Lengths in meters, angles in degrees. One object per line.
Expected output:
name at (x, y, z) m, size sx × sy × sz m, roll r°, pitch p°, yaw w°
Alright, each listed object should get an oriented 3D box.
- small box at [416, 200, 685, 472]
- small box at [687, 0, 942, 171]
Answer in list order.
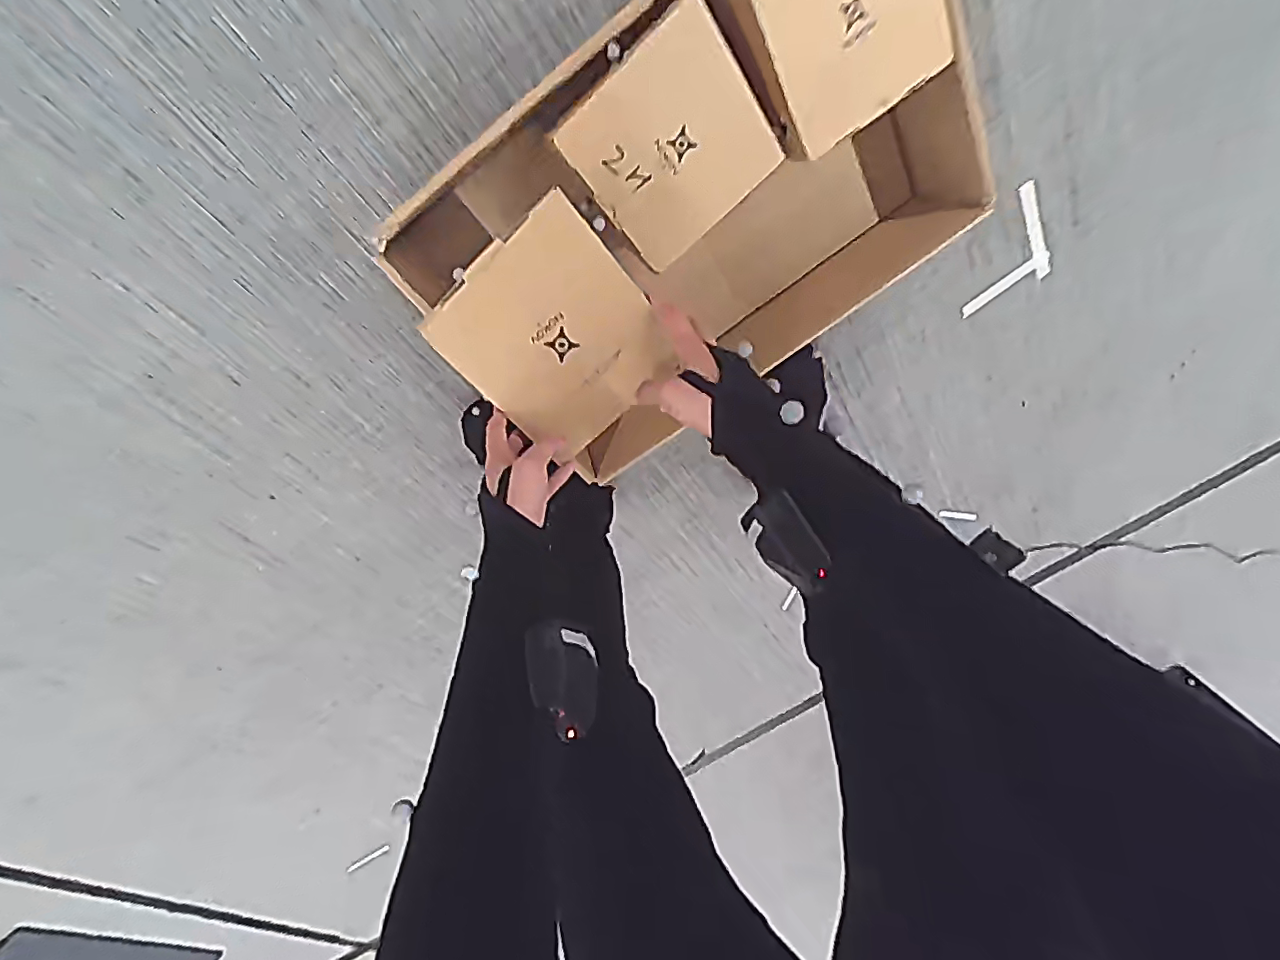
small box at (-0.084, -0.145, 0.541) m, size 0.168 × 0.176 × 0.179 m, roll -40°, pitch 114°, yaw 11°
small box at (0.173, -0.462, 0.568) m, size 0.168 × 0.176 × 0.179 m, roll -34°, pitch 126°, yaw 10°
